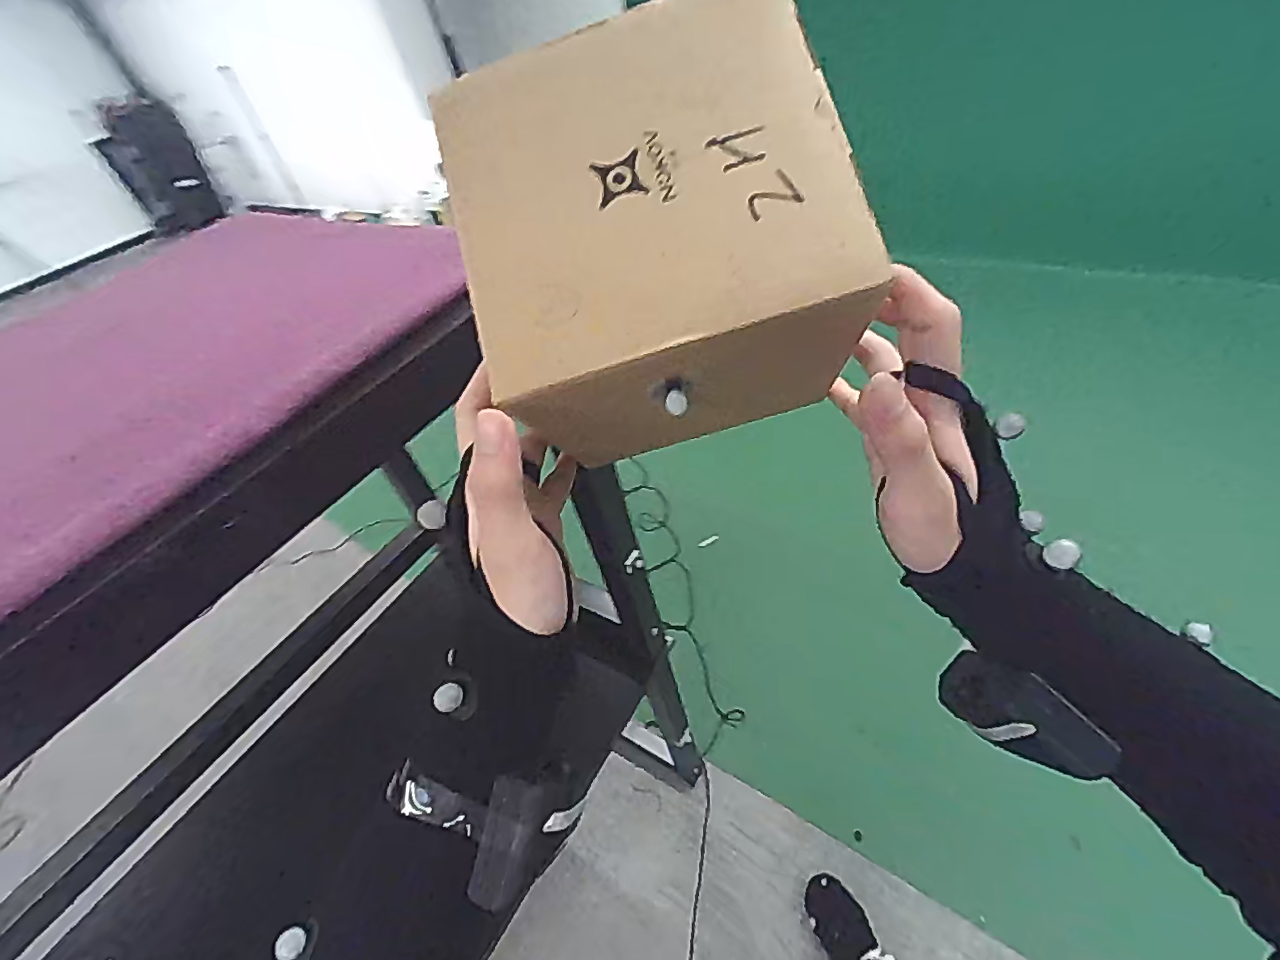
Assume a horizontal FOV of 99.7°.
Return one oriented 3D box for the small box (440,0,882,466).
[{"bbox_3d":[0.014,-0.115,0.320,0.179,0.176,0.168,-15,80,8],"label":"small box"}]
